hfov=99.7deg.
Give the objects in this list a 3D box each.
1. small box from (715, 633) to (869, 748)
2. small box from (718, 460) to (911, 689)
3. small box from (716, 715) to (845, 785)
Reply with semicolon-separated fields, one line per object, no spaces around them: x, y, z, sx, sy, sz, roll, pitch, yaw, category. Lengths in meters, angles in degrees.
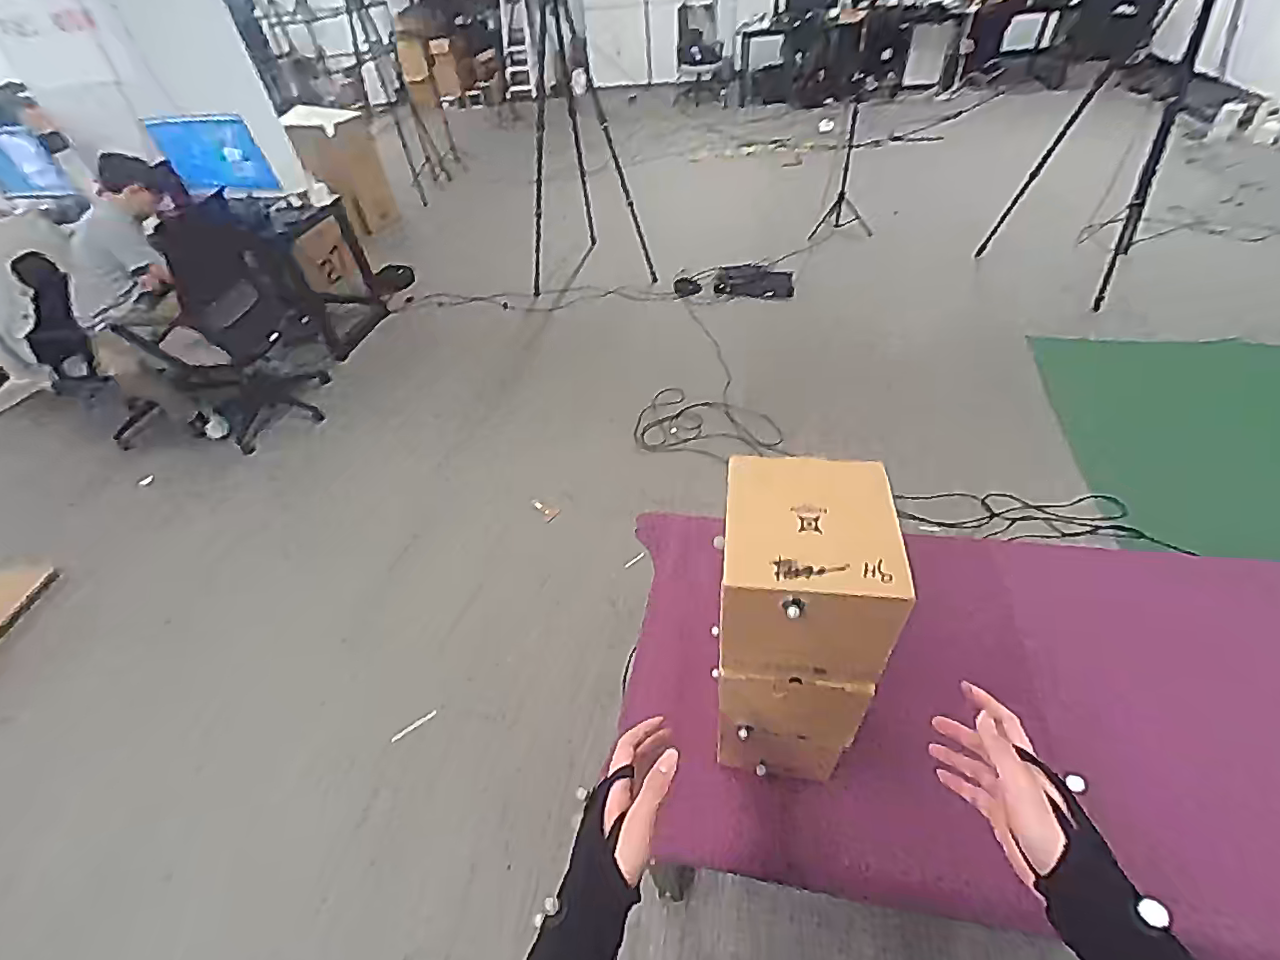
0.186;0.220;0.695;0.168;0.176;0.179;3;44;11;small box
0.172;0.099;0.586;0.168;0.176;0.179;2;44;11;small box
0.203;0.330;0.815;0.168;0.176;0.179;3;46;11;small box
